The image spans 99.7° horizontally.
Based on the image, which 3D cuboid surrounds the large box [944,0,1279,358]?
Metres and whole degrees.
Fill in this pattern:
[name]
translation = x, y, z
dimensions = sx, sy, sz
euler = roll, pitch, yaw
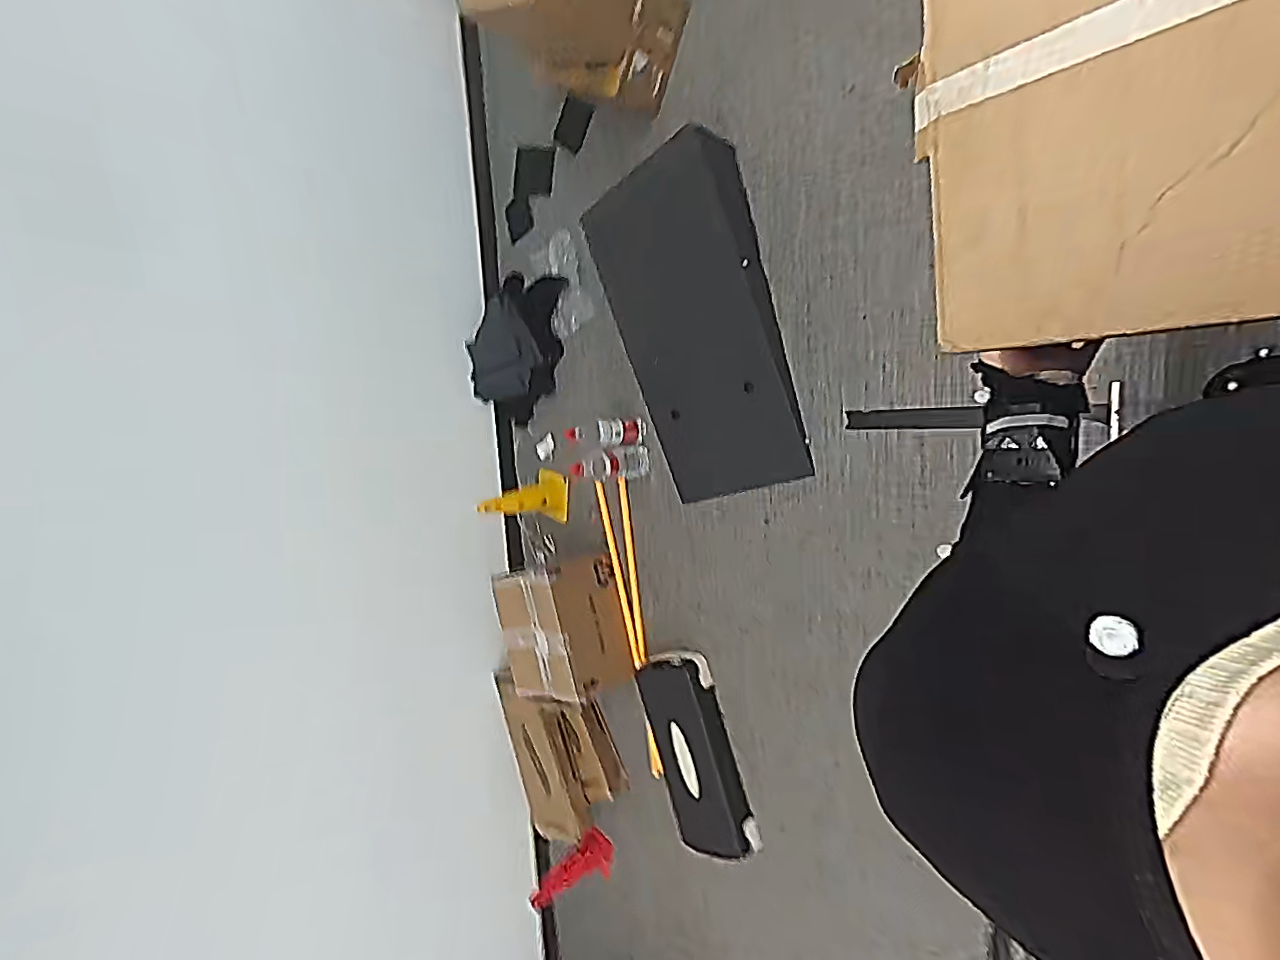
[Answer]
[large box]
translation = 0.436, -0.258, 0.308
dimensions = 0.408, 0.320, 0.320
euler = 3, 106, 44
